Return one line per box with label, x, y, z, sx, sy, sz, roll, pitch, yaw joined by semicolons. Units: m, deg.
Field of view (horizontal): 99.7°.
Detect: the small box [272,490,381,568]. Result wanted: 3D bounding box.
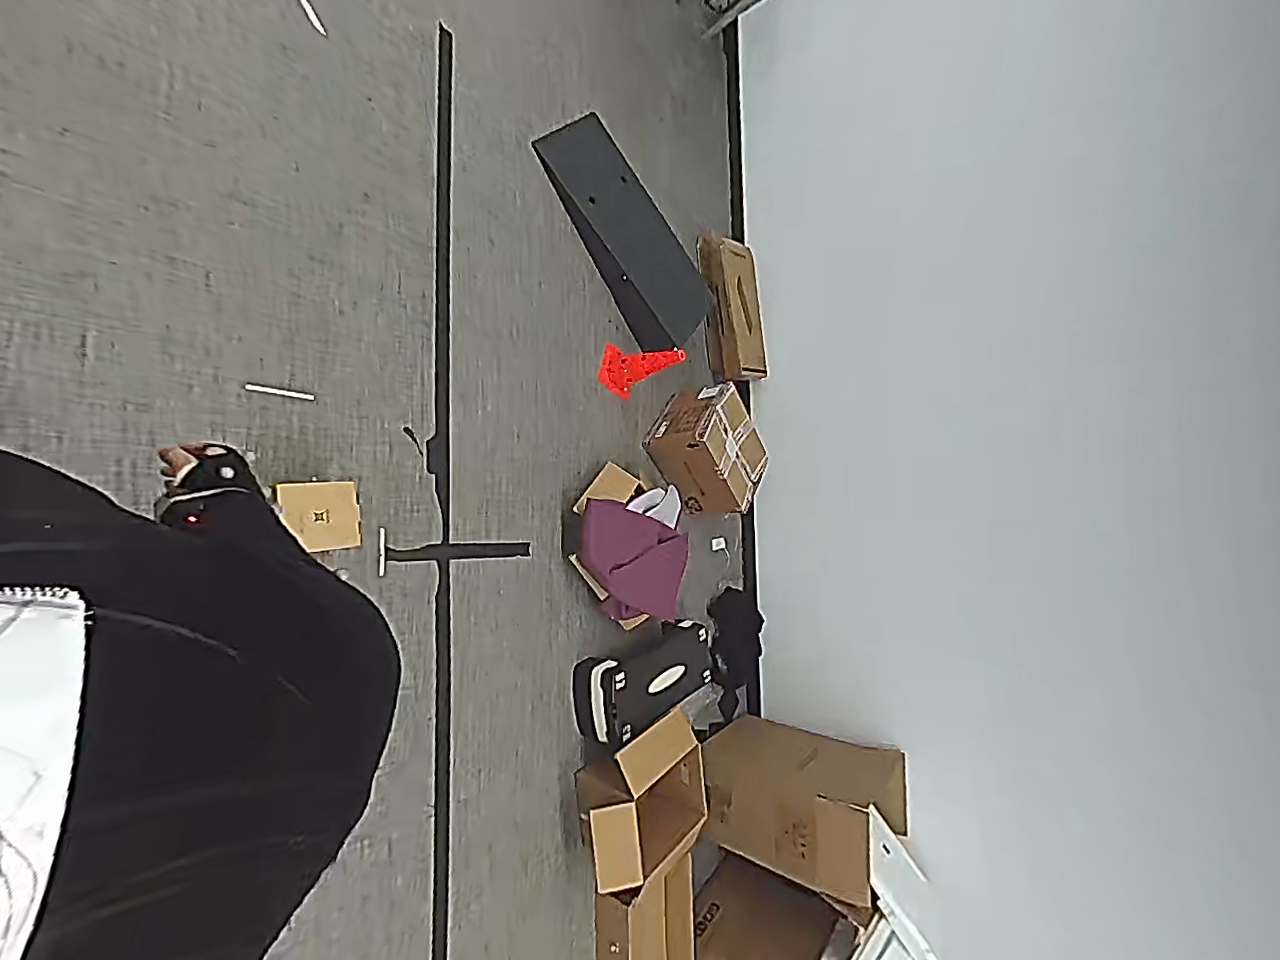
small box;-0.752;0.113;1.297;0.179;0.176;0.168;-5;90;-50
